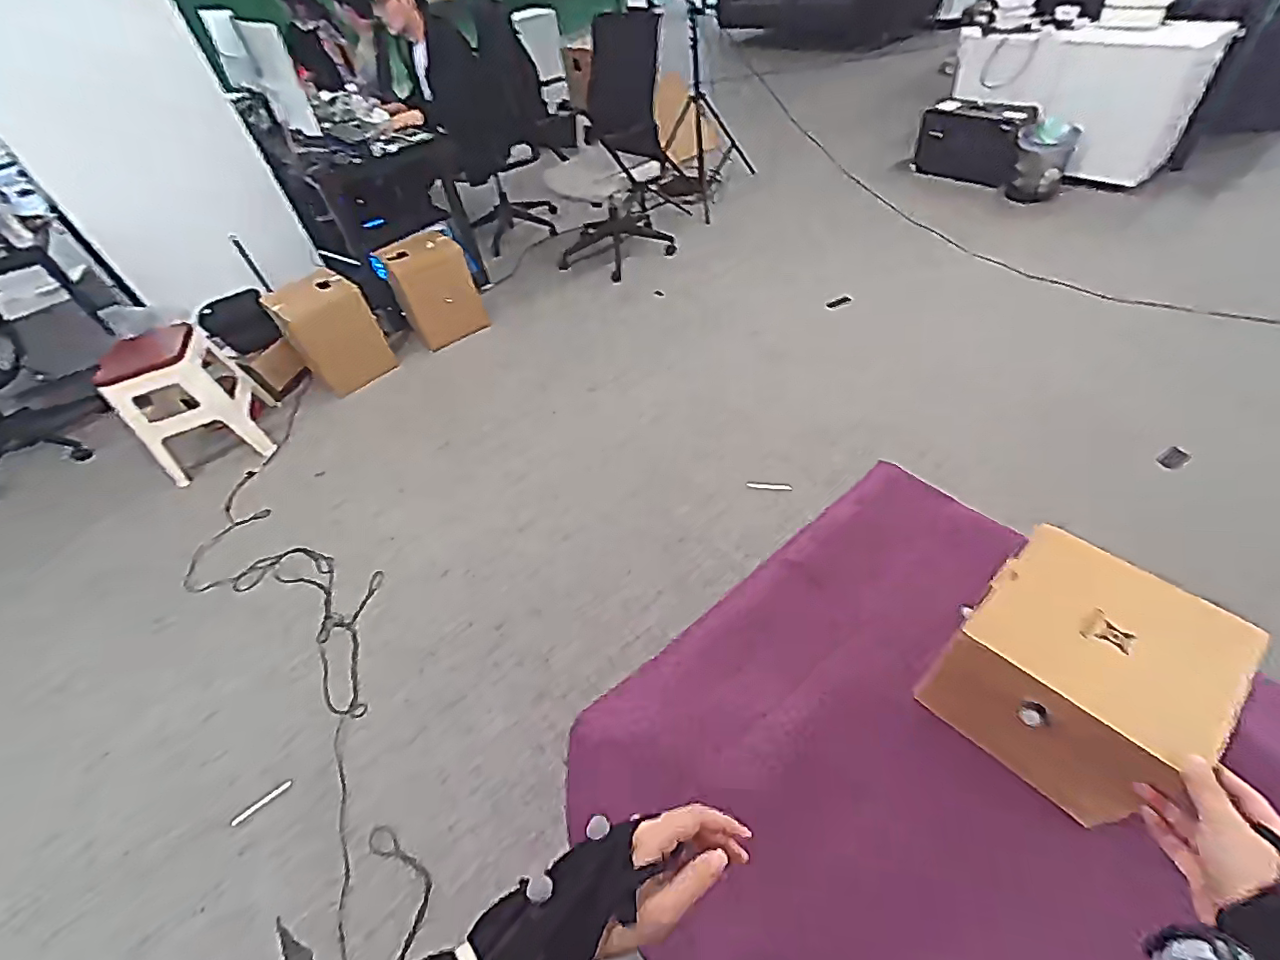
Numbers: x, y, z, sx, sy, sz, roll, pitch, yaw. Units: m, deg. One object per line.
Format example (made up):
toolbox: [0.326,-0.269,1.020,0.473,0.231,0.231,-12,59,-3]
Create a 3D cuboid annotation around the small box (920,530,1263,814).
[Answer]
small box: [0.413,0.189,0.526,0.168,0.176,0.179,-37,53,-22]
